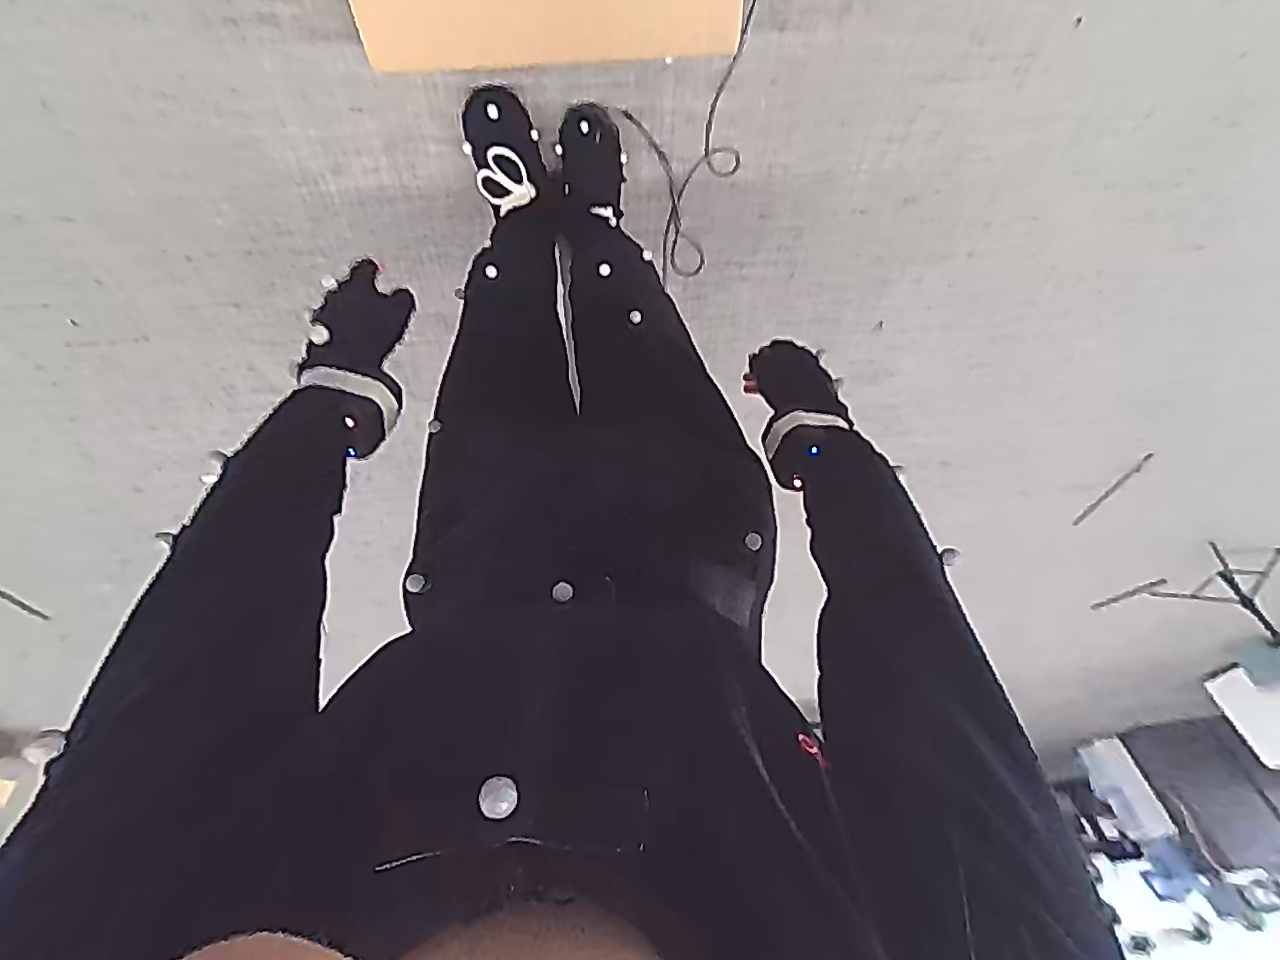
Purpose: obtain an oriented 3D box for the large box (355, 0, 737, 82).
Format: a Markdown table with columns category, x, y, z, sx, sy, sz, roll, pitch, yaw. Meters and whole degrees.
| category | x | y | z | sx | sy | sz | roll | pitch | yaw |
| --- | --- | --- | --- | --- | --- | --- | --- | --- | --- |
| large box | -0.112 | -0.677 | 0.586 | 0.408 | 0.320 | 0.320 | -6 | 140 | -3 |
